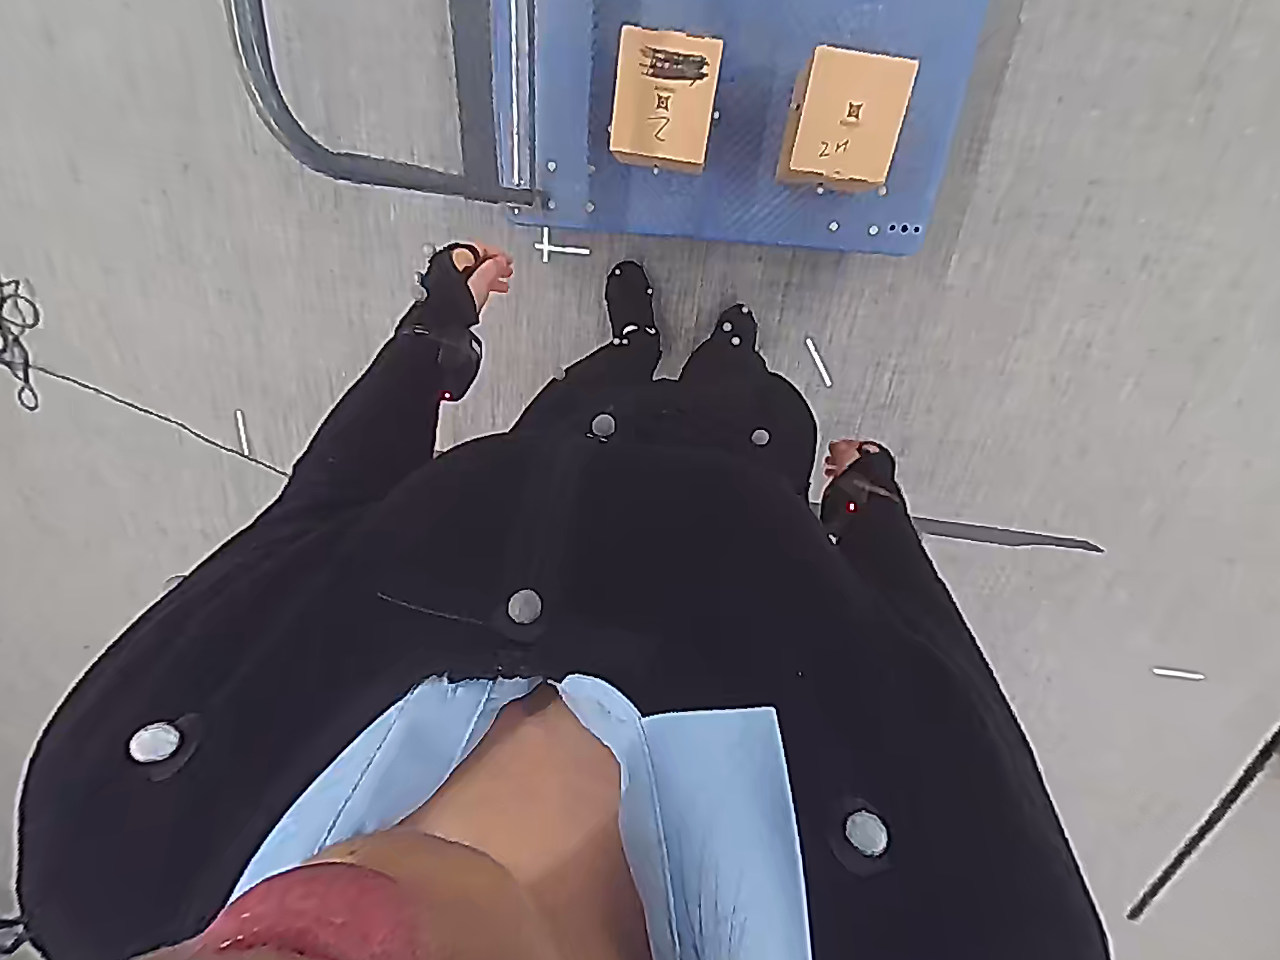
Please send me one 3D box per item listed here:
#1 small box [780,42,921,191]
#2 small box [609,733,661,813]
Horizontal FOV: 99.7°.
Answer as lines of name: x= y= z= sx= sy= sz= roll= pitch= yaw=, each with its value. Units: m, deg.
small box: x=0.355 y=-0.626 z=0.954 sx=0.168 sy=0.176 sz=0.179 roll=10 pitch=114 yaw=1
small box: x=-0.015 y=1.028 z=1.903 sx=0.168 sy=0.176 sz=0.179 roll=5 pitch=113 yaw=2
